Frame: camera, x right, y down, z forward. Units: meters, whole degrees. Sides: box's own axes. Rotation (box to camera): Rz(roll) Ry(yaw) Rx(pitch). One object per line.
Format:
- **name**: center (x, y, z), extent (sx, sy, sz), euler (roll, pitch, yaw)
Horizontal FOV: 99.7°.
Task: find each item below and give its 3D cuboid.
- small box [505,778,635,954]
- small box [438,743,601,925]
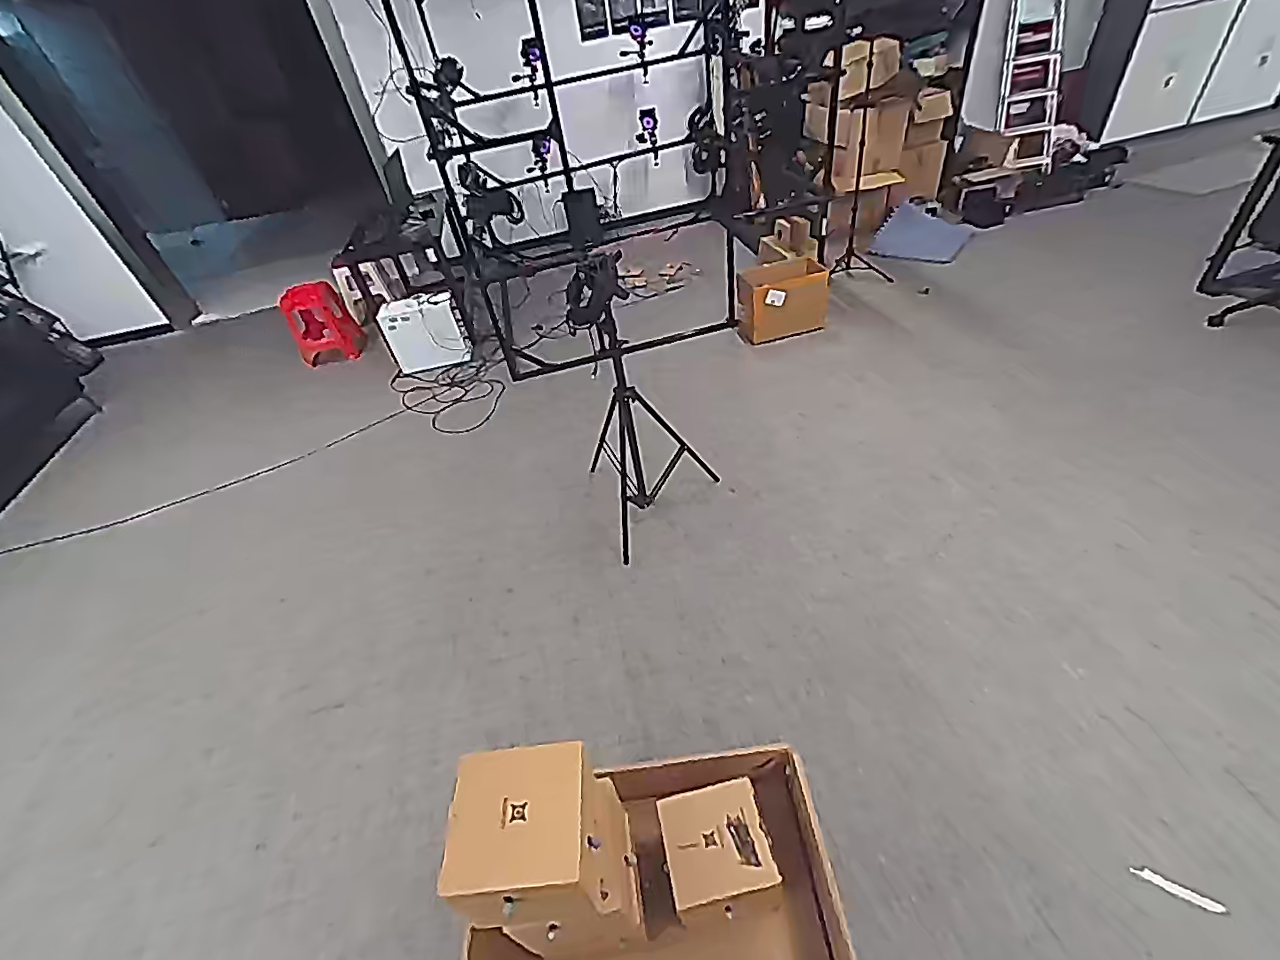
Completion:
- **small box**: center (-0.105, 0.605, 0.850), extent (0.168, 0.176, 0.179), euler (-10, 40, -1)
- **small box**: center (-0.149, 0.487, 0.744), extent (0.179, 0.176, 0.168), euler (-8, 41, 1)
